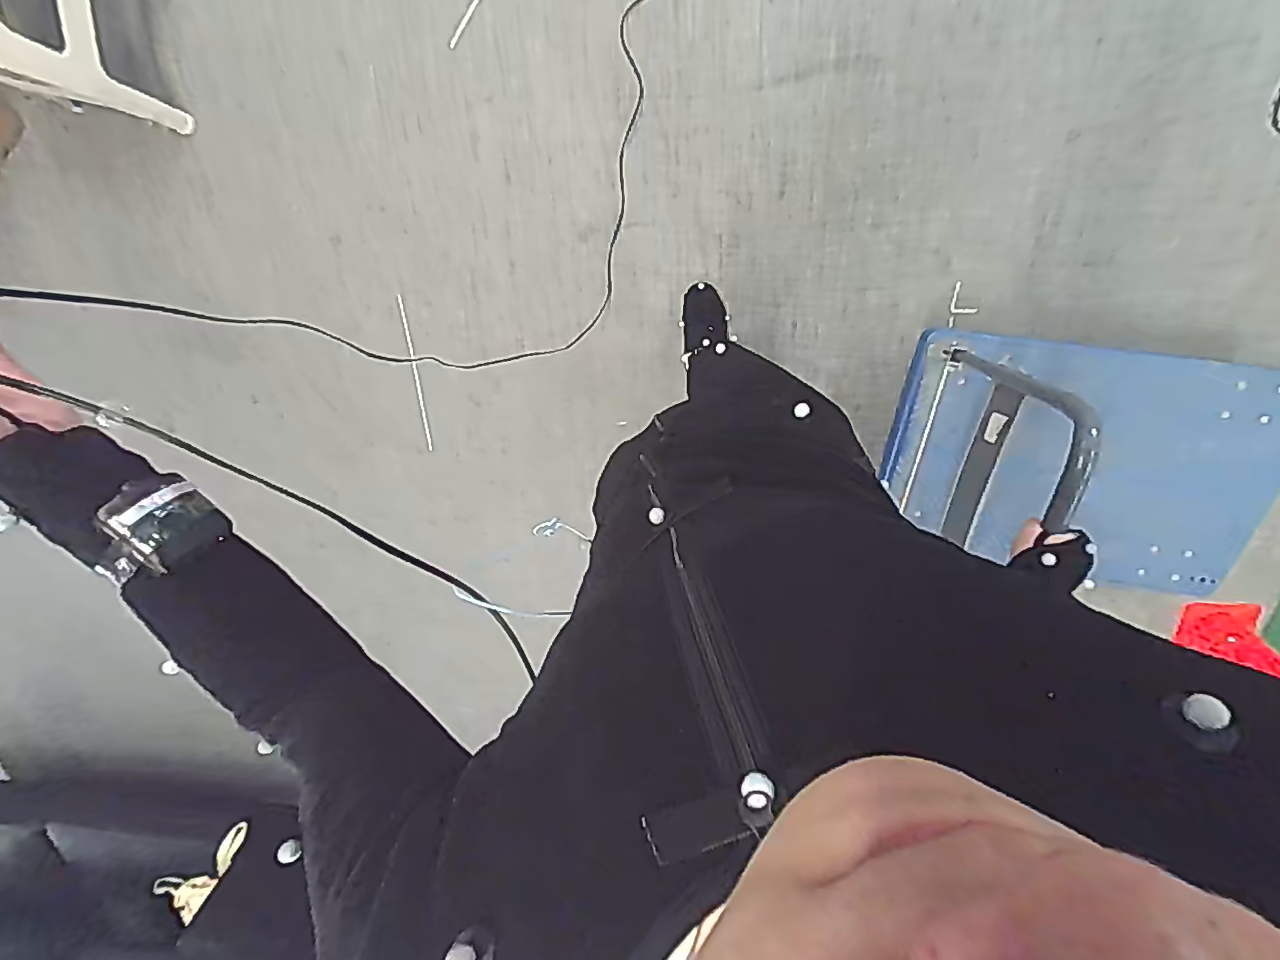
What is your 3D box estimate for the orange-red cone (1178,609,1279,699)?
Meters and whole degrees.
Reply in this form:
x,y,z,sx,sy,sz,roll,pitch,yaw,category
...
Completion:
x,y,z,sx,sy,sz,roll,pitch,yaw,category
1.677,0.522,1.410,0.199,0.360,0.198,0,112,7,orange-red cone
